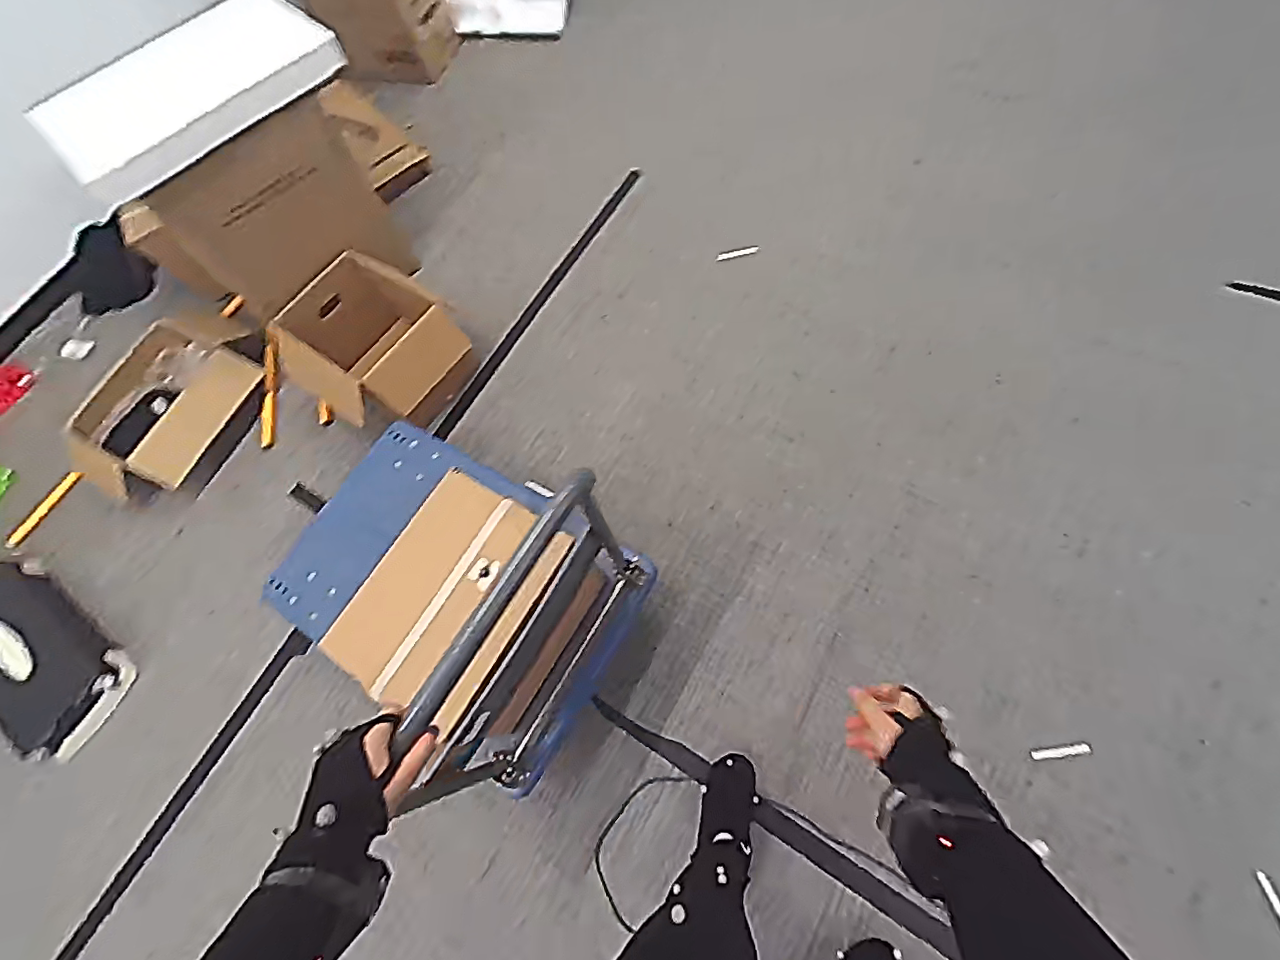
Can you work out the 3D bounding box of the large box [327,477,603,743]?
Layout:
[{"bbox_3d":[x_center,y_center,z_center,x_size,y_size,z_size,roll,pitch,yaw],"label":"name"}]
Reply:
[{"bbox_3d":[-0.330,0.277,1.131,0.320,0.320,0.408,27,73,18],"label":"large box"}]
